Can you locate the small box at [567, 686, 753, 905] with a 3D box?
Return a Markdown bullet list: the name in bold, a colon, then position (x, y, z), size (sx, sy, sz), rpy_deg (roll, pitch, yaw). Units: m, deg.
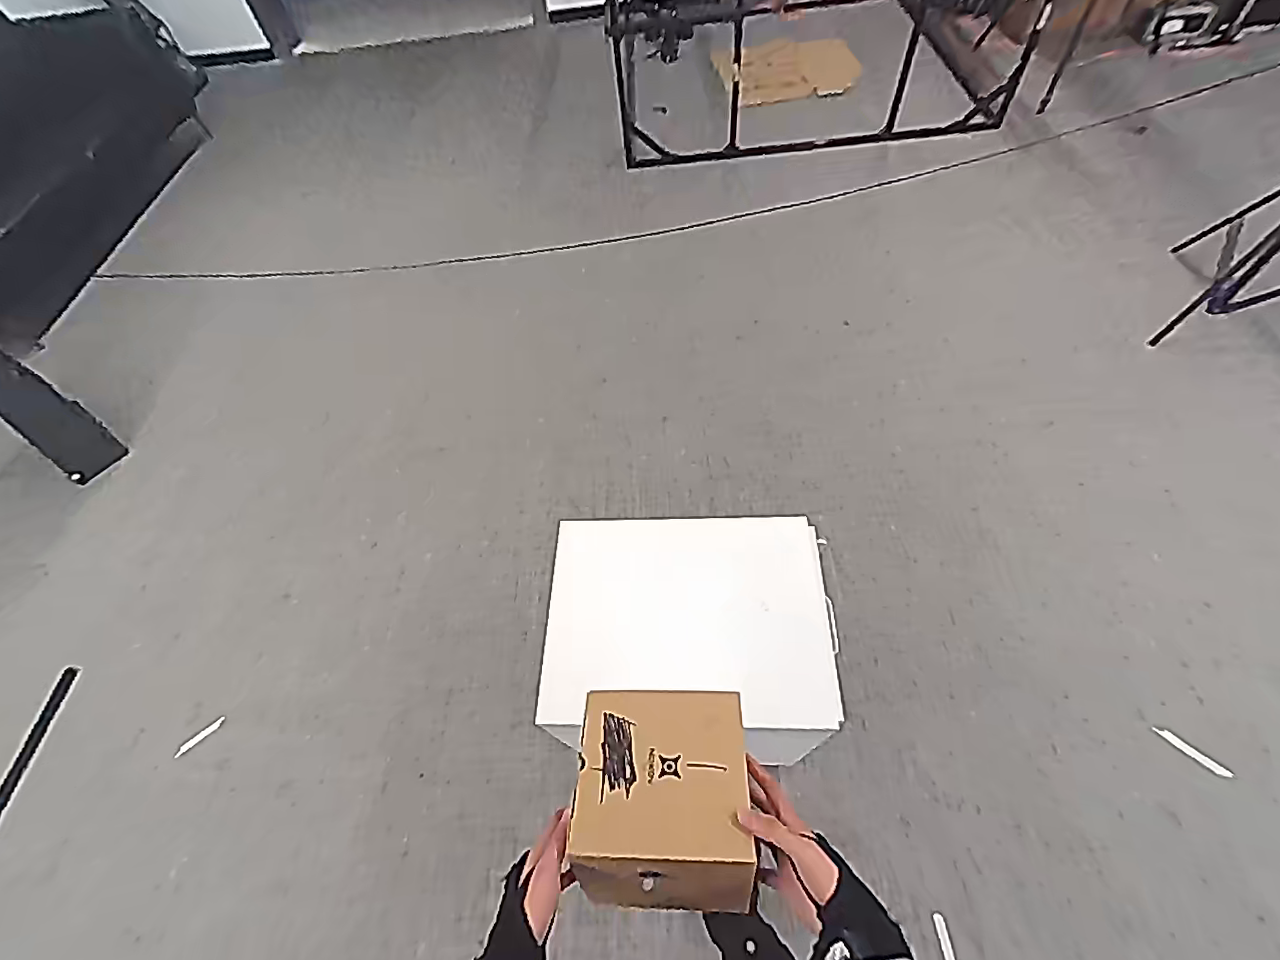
- **small box**: position (0.029, 0.352, 0.607), size (0.179, 0.176, 0.168), rpy_deg (-2, 39, 5)
